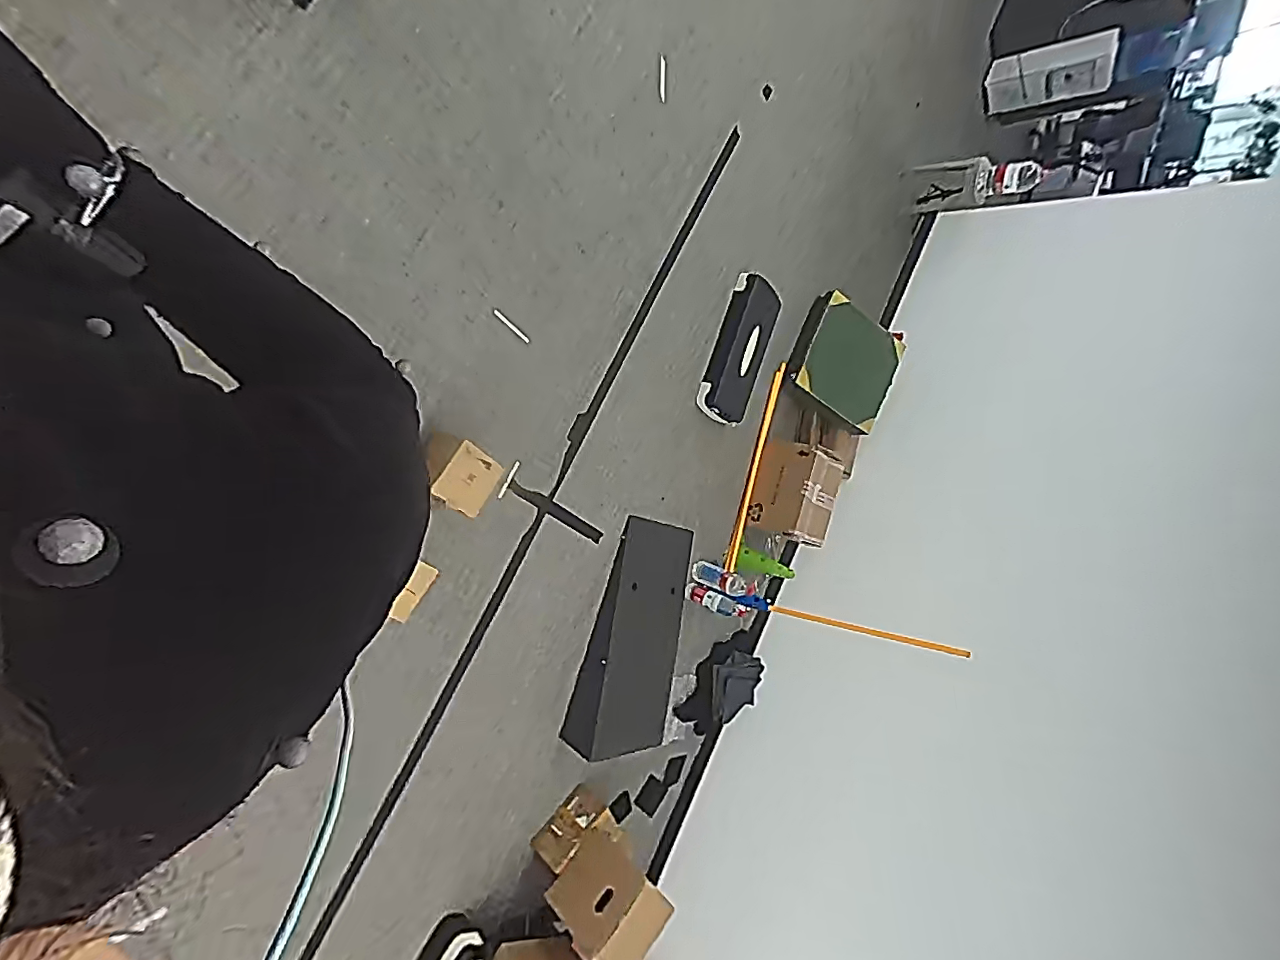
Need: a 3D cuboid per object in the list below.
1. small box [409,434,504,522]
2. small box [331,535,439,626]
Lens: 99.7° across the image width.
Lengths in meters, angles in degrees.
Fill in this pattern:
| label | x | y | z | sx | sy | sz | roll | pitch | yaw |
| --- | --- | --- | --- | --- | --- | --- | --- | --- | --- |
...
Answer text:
| label | x | y | z | sx | sy | sz | roll | pitch | yaw |
| --- | --- | --- | --- | --- | --- | --- | --- | --- | --- |
| small box | -0.538 | -0.009 | 1.562 | 0.179 | 0.176 | 0.168 | -59 | 137 | -15 |
| small box | -0.699 | 0.268 | 1.475 | 0.168 | 0.176 | 0.179 | -59 | 138 | -16 |
